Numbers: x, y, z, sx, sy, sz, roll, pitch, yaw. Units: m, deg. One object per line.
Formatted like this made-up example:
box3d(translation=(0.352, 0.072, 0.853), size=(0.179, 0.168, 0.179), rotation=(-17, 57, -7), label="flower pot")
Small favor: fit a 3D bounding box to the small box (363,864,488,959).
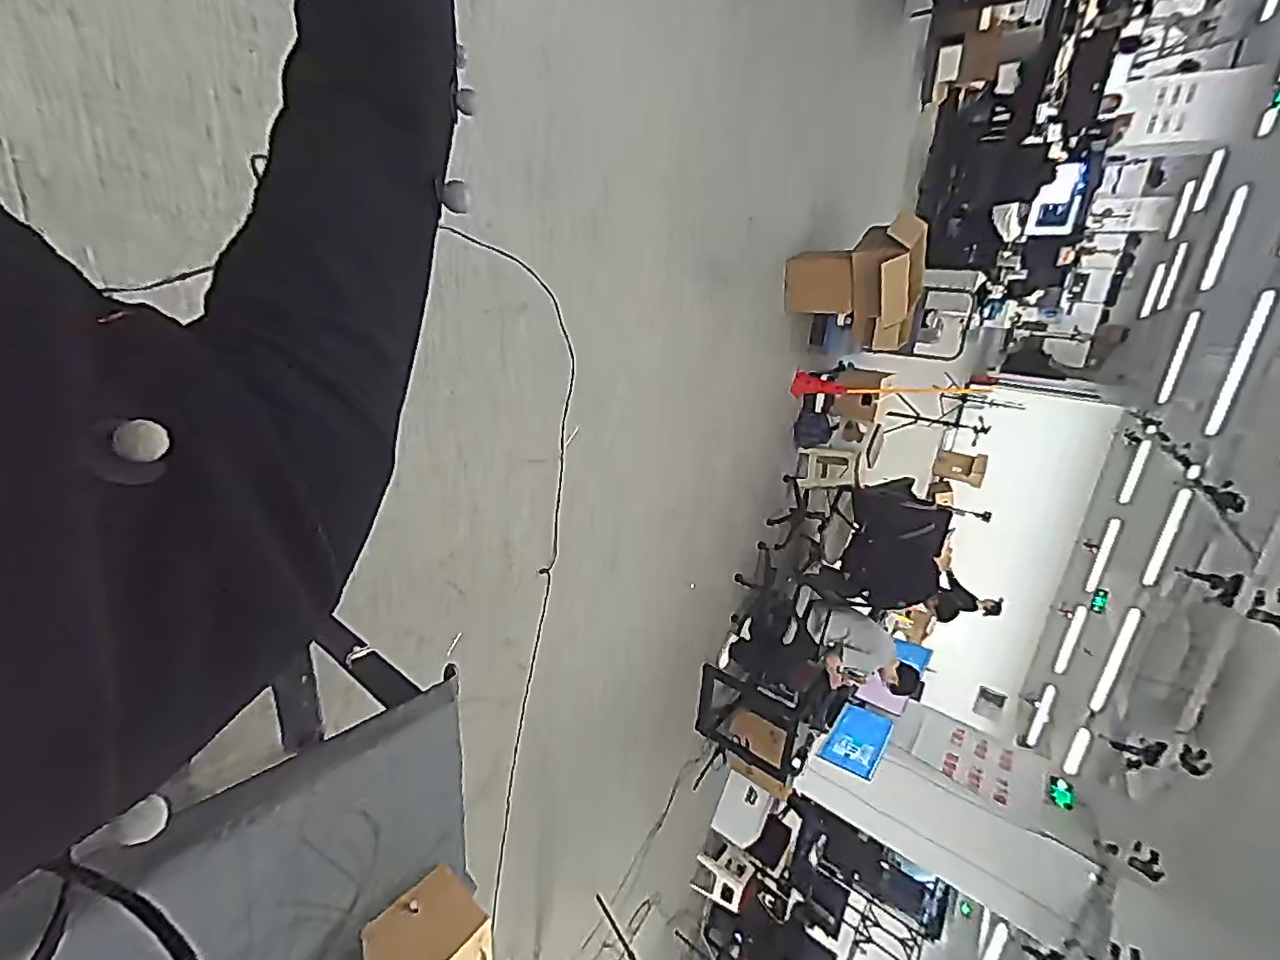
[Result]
box3d(translation=(-0.422, 0.919, 1.059), size=(0.179, 0.176, 0.168), rotation=(-19, 119, -49), label="small box")
